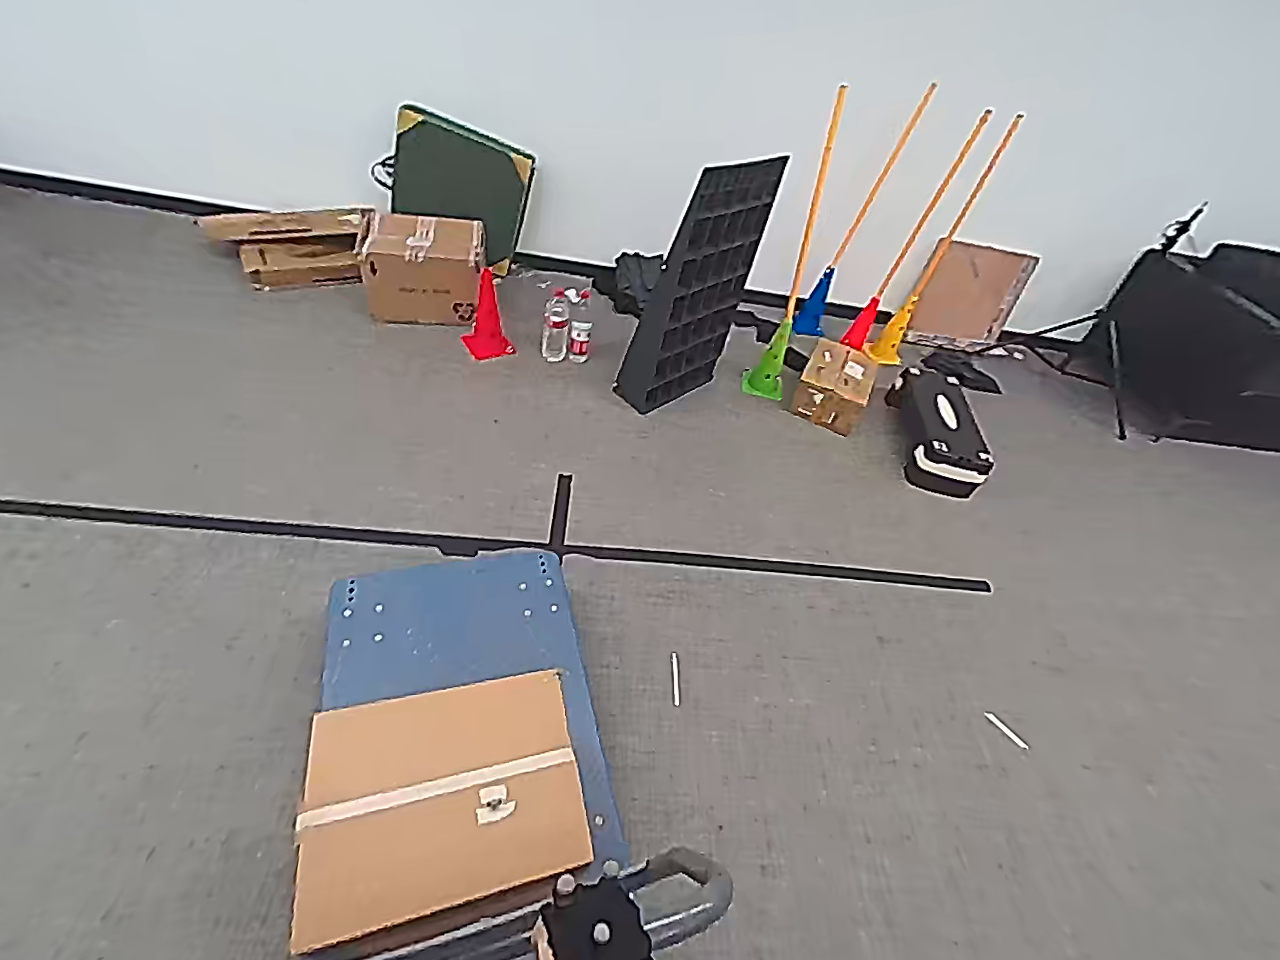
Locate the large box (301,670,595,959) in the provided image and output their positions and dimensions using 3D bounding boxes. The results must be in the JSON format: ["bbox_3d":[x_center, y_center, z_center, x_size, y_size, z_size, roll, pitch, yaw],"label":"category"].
[{"bbox_3d":[-0.327,0.584,0.955,0.408,0.320,0.320,-4,49,-20],"label":"large box"}]
